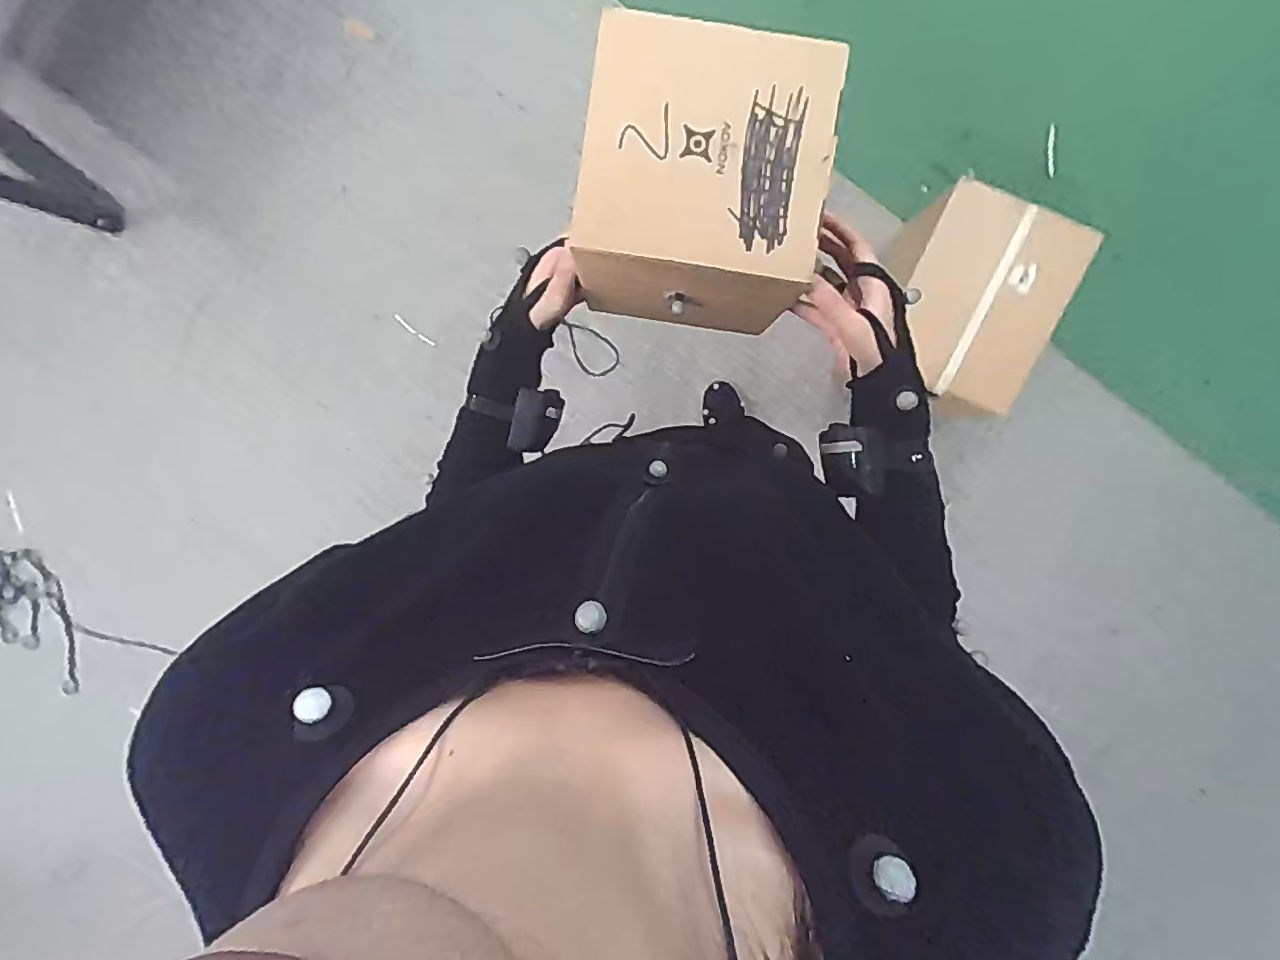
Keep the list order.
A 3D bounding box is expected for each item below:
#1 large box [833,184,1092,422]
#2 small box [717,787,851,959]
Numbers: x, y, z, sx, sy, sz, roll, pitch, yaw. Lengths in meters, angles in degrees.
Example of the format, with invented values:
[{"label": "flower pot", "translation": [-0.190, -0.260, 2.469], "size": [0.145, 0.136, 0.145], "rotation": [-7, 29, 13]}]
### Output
[{"label": "large box", "translation": [0.712, -0.378, 1.266], "size": [0.320, 0.320, 0.408], "rotation": [24, 96, 0]}, {"label": "small box", "translation": [0.256, 0.726, 1.013], "size": [0.179, 0.176, 0.168], "rotation": [-31, 95, 6]}]
